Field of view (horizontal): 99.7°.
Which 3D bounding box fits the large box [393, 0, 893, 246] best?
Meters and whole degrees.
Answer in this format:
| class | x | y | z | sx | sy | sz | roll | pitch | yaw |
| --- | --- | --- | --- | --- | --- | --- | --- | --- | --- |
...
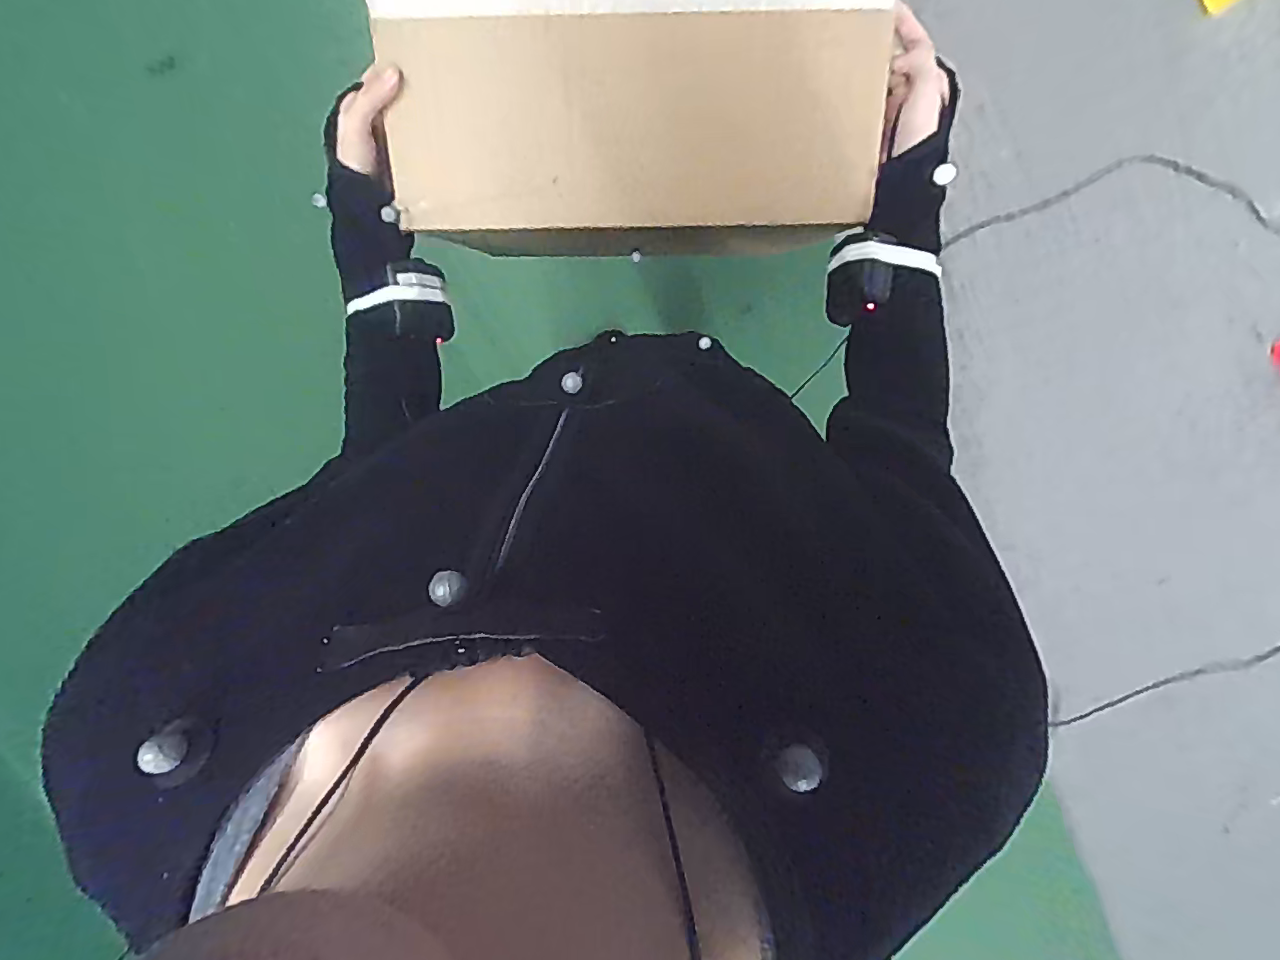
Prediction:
| class | x | y | z | sx | sy | sz | roll | pitch | yaw |
| --- | --- | --- | --- | --- | --- | --- | --- | --- | --- |
| large box | 0.005 | -0.423 | 0.567 | 0.408 | 0.320 | 0.320 | 0 | 108 | 1 |
